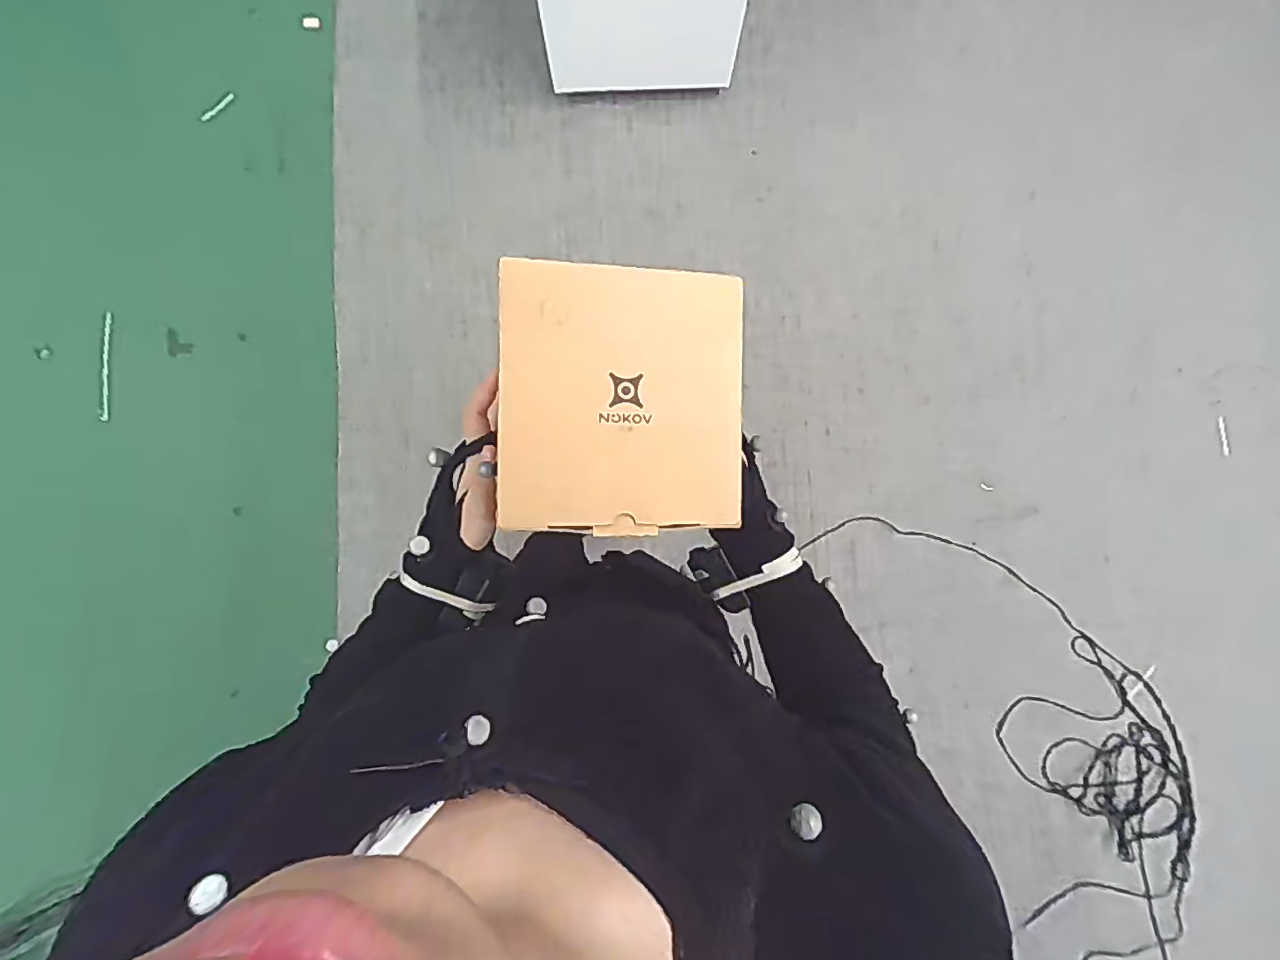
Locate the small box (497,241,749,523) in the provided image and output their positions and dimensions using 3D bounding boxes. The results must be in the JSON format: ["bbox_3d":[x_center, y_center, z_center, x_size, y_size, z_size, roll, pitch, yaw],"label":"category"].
[{"bbox_3d":[-0.025,-0.059,0.423,0.168,0.176,0.179,-1,90,-12],"label":"small box"}]
